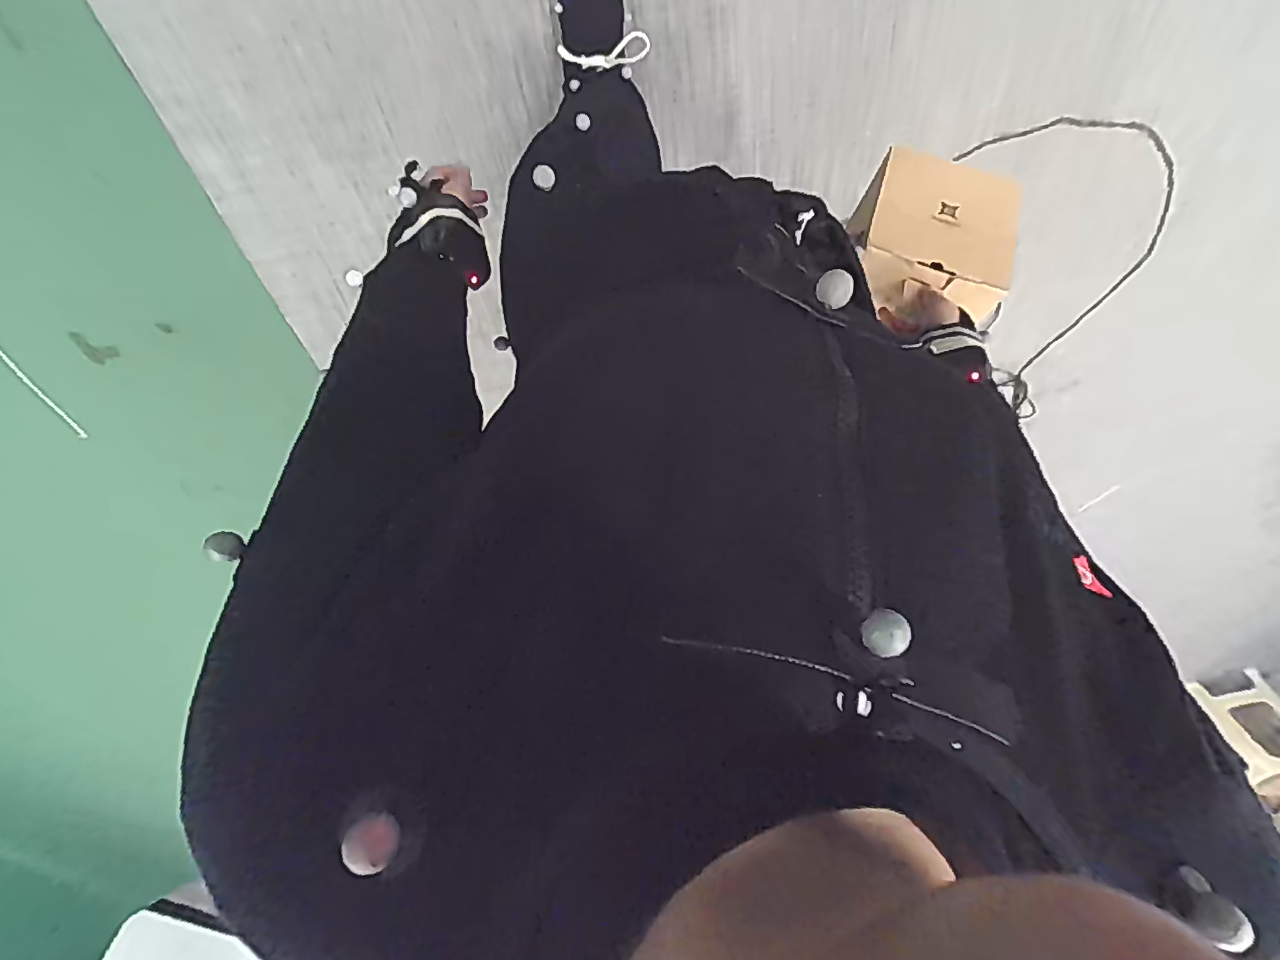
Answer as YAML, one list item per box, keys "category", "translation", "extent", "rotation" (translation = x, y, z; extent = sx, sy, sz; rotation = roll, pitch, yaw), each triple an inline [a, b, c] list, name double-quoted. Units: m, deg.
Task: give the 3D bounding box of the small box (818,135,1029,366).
- category: "small box"
  translation: [0.344, -0.278, 0.680]
  extent: [0.168, 0.179, 0.176]
  rotation: [19, 160, 3]
